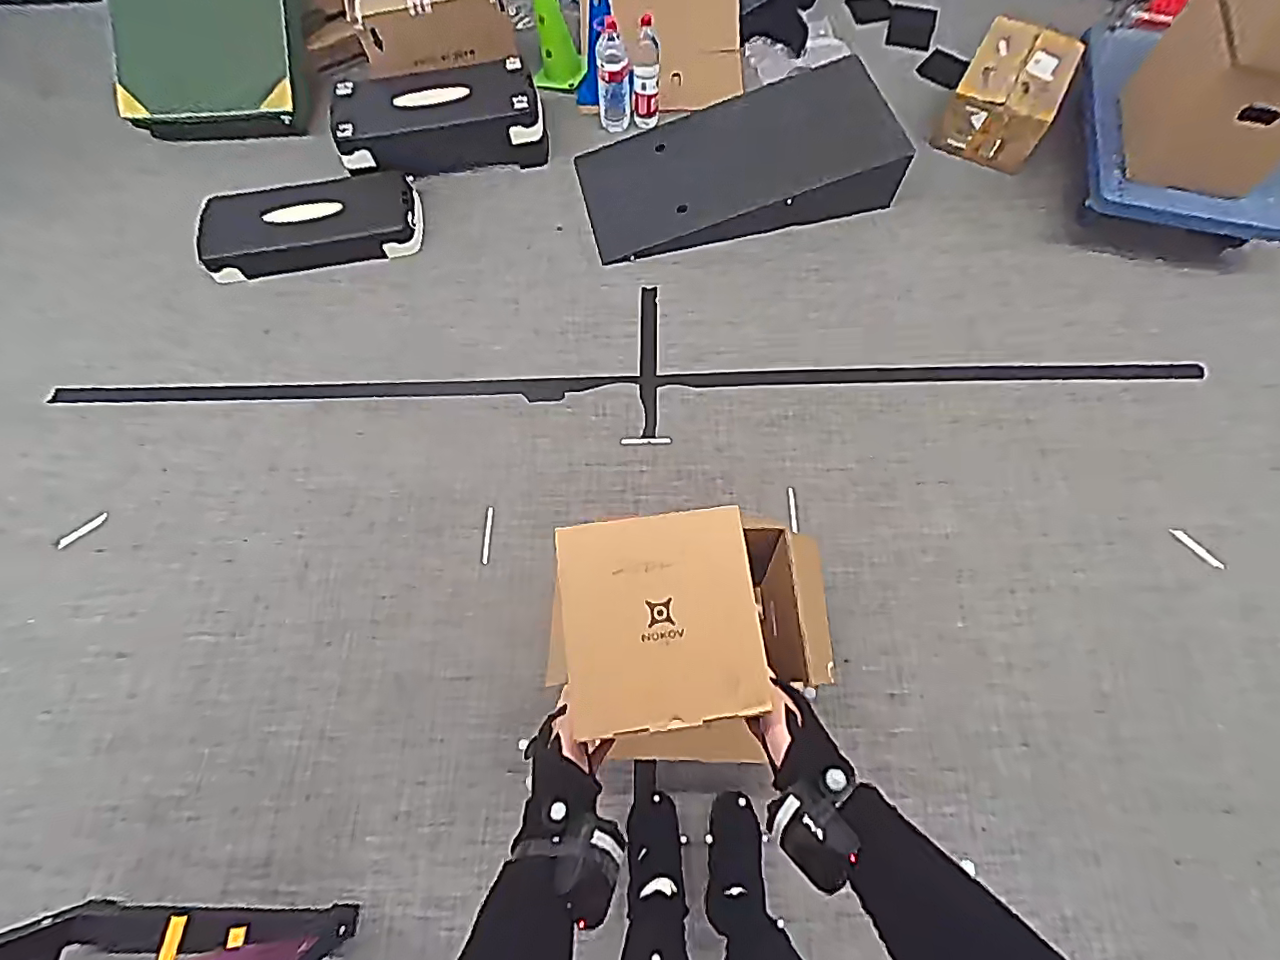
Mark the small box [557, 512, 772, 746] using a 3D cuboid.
[{"bbox_3d":[0.015,0.138,0.527,0.168,0.176,0.179,-6,76,-4],"label":"small box"}]
